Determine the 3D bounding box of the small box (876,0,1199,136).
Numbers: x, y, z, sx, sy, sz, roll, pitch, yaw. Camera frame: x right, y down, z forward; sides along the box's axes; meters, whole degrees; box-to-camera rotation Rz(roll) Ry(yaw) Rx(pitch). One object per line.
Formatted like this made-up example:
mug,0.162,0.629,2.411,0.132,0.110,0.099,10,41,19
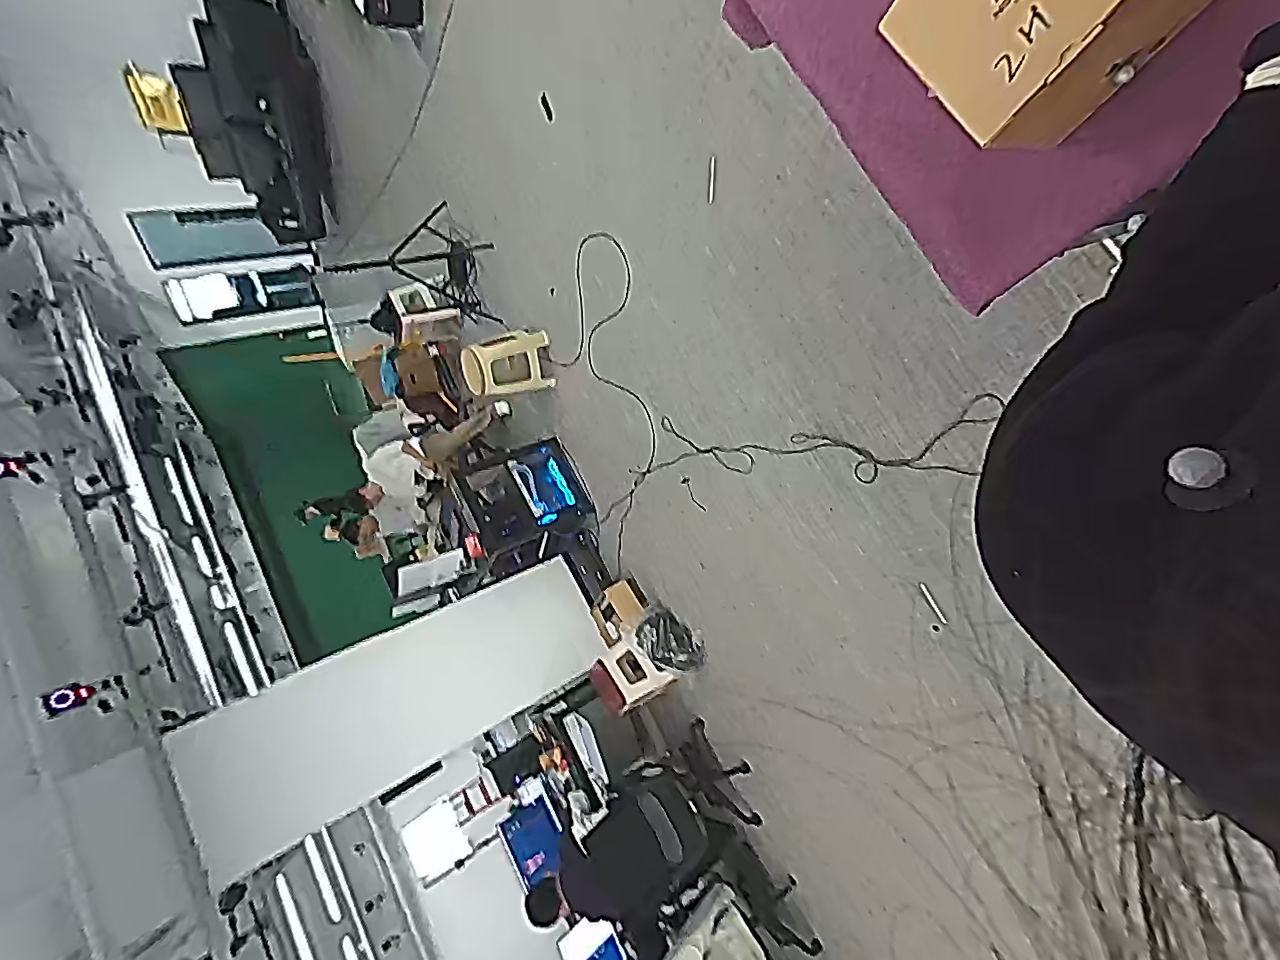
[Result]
small box,0.370,-0.452,0.503,0.179,0.176,0.168,60,149,13
